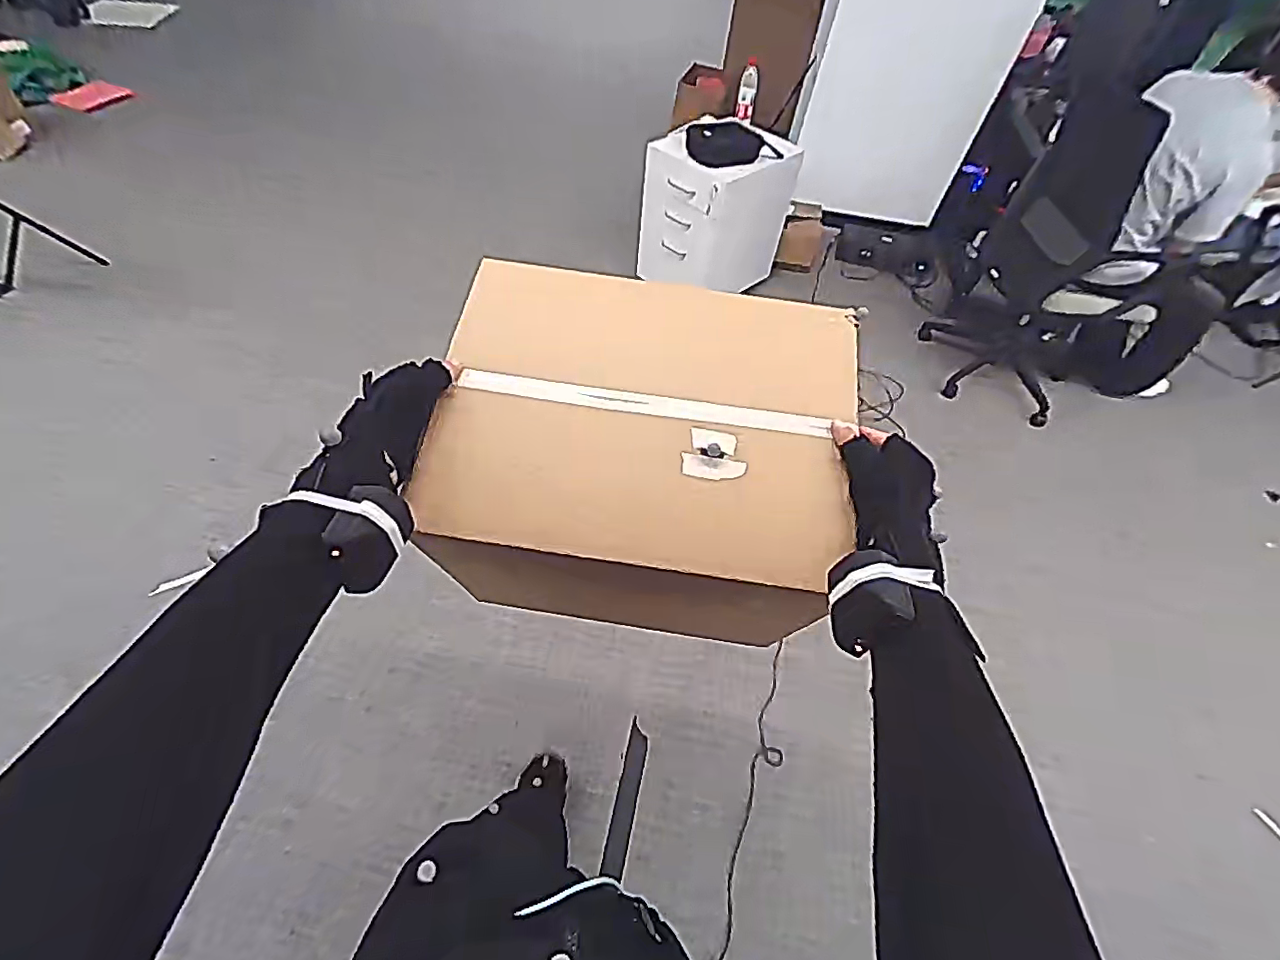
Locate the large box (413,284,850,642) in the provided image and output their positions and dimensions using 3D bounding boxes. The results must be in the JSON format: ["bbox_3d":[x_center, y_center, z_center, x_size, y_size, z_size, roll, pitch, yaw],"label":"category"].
[{"bbox_3d":[0.000,0.001,0.678,0.408,0.320,0.320,8,66,1],"label":"large box"}]
